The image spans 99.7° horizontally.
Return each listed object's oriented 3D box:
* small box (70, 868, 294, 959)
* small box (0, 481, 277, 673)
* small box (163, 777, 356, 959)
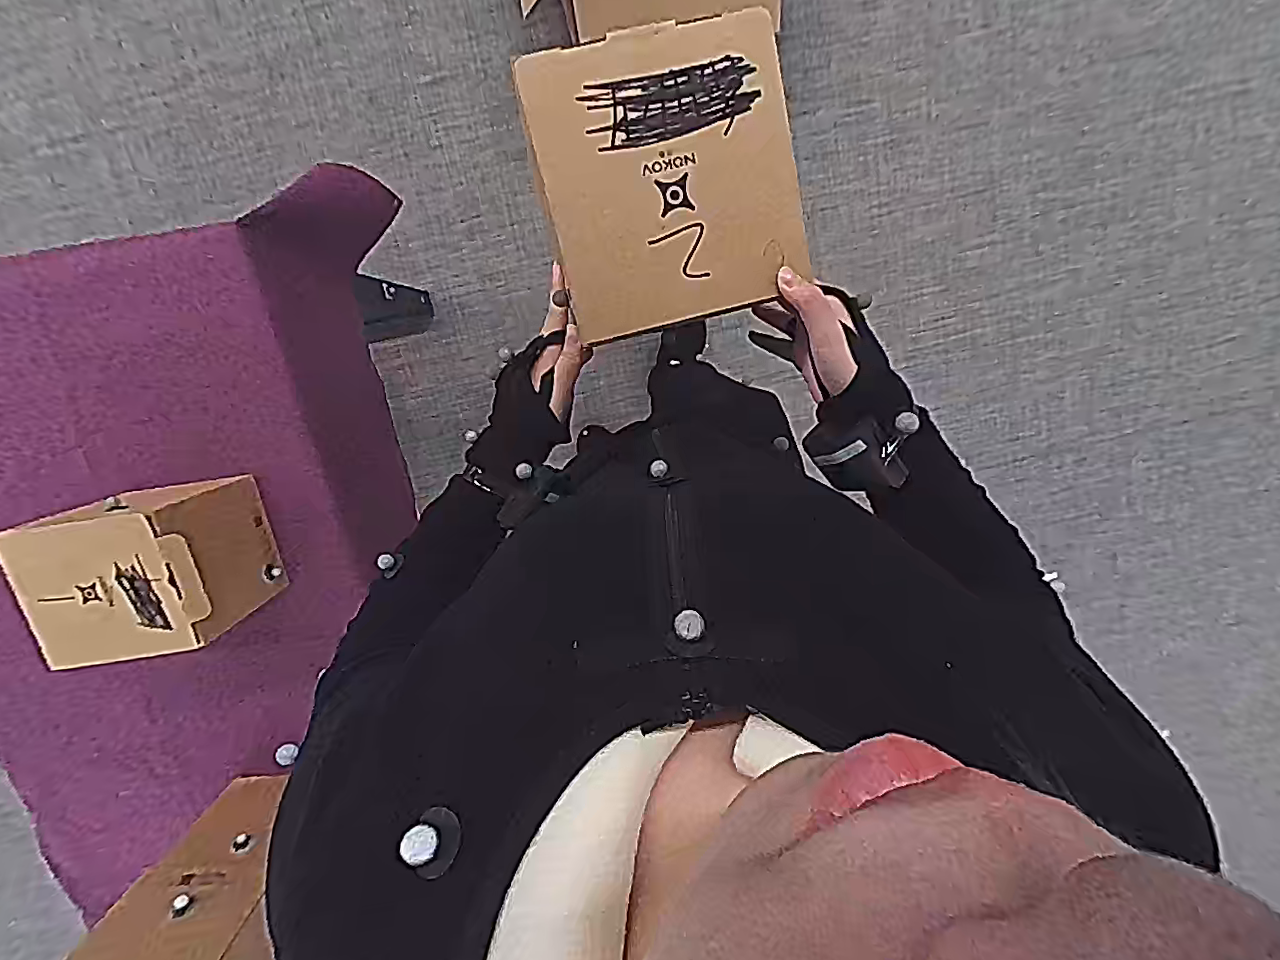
[{"bbox_3d":[-0.525,0.586,0.613,0.168,0.176,0.179,0,102,-3],"label":"small box"},{"bbox_3d":[-0.587,0.106,0.662,0.179,0.176,0.168,-9,104,1],"label":"small box"},{"bbox_3d":[-0.530,0.554,0.774,0.179,0.176,0.168,-1,103,-2],"label":"small box"}]
